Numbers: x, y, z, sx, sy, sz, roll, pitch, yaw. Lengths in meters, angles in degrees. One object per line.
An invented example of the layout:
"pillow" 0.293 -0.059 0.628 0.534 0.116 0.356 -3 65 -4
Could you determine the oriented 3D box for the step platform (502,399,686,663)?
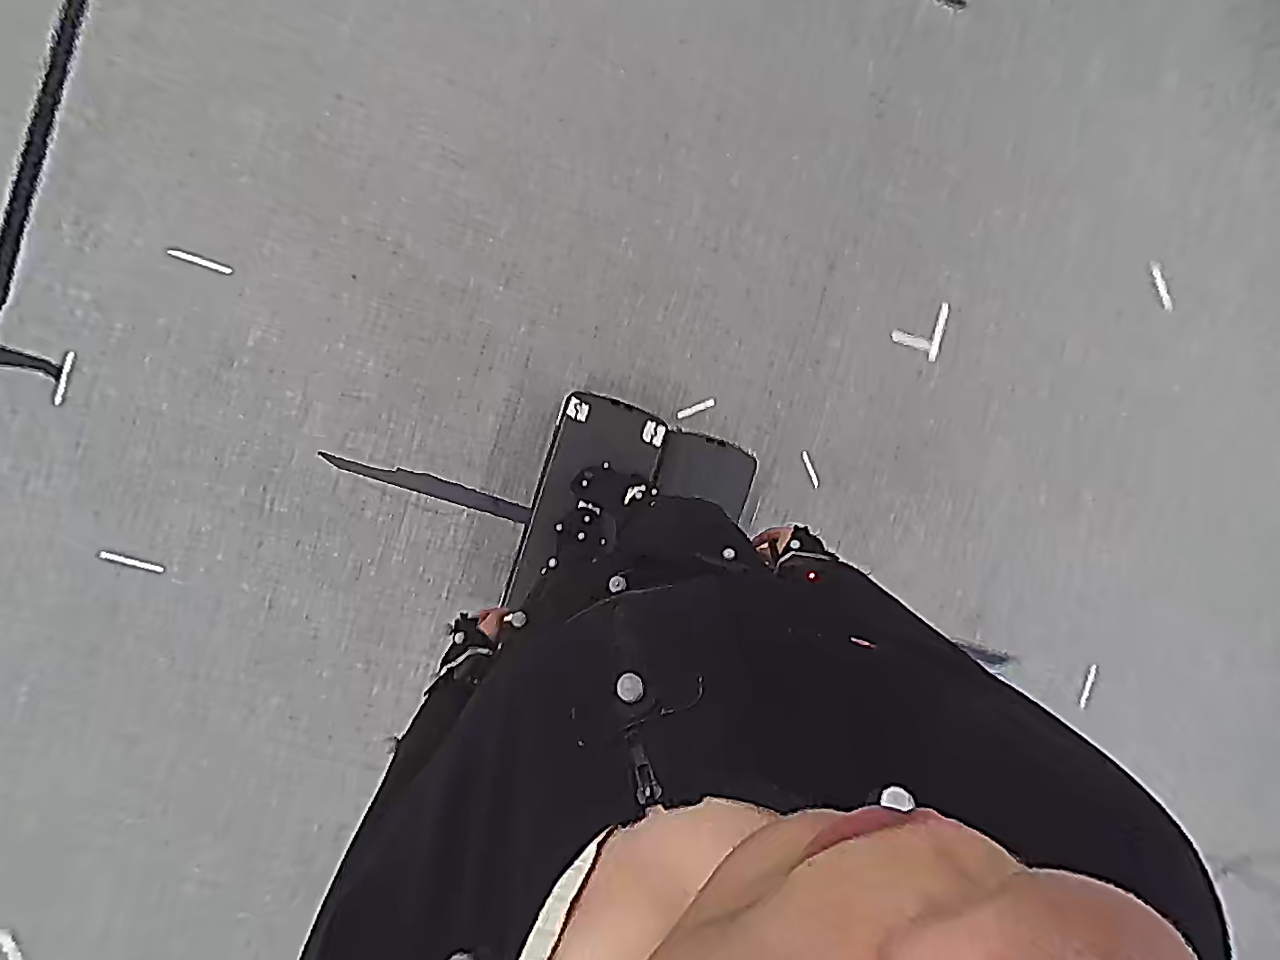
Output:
"step platform" -0.122 0.131 1.459 0.286 0.204 0.684 22 88 -7
